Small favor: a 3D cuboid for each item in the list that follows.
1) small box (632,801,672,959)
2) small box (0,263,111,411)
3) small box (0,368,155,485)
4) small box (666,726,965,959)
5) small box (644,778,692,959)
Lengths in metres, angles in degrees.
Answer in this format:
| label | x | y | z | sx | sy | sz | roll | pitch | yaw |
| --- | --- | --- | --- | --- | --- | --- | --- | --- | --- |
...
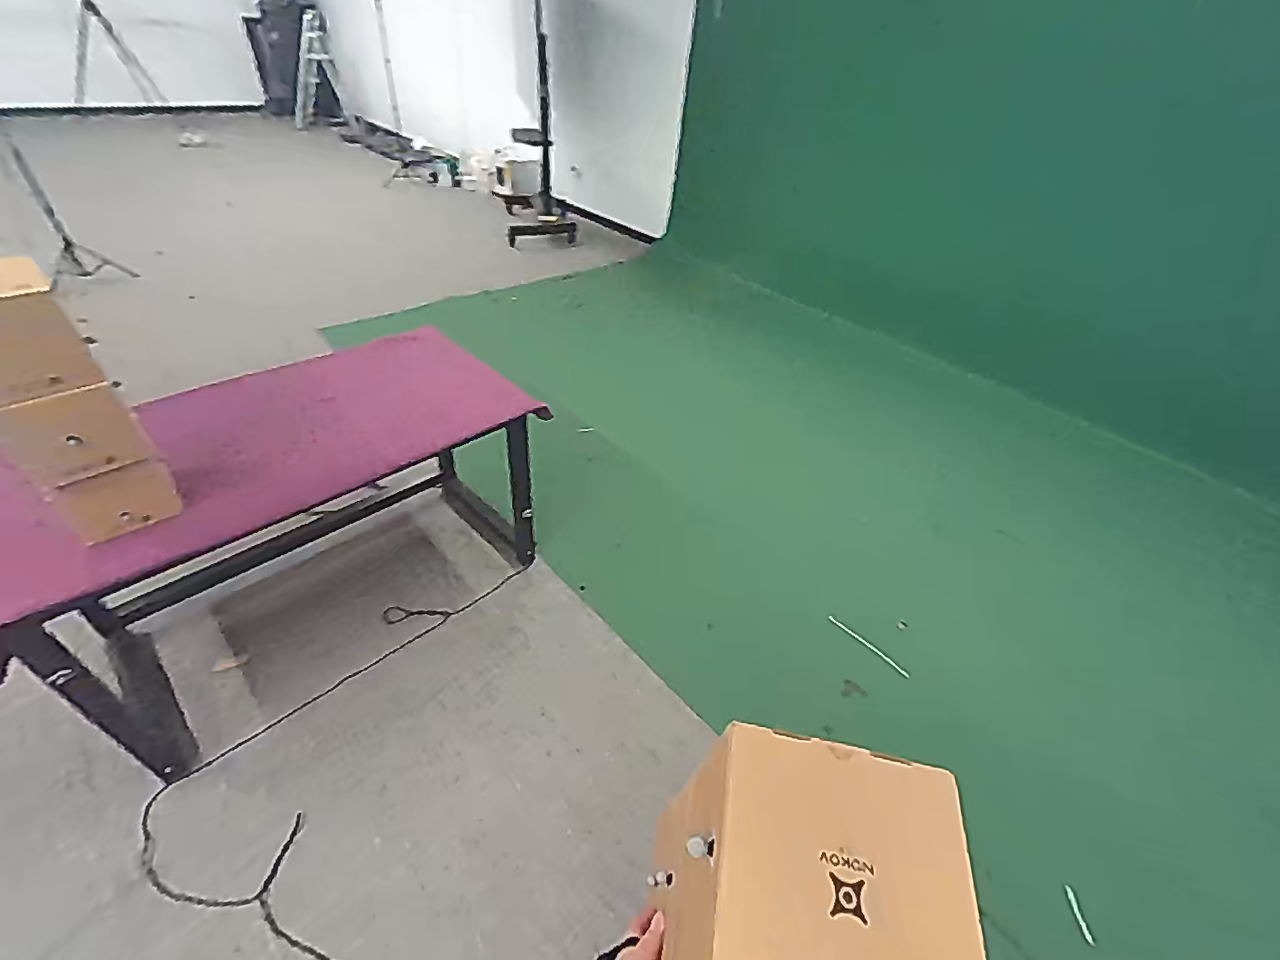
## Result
| label | x | y | z | sx | sy | sz | roll | pitch | yaw |
| --- | --- | --- | --- | --- | --- | --- | --- | --- | --- |
| small box | 0.088 | 0.523 | 0.658 | 0.168 | 0.176 | 0.179 | 11 | 49 | 3 |
| small box | -1.043 | -0.241 | 0.902 | 0.179 | 0.176 | 0.168 | 35 | 48 | 29 |
| small box | -1.053 | -0.112 | 1.005 | 0.168 | 0.176 | 0.179 | -30 | 53 | -36 |
| small box | 0.116 | 0.317 | 0.407 | 0.168 | 0.176 | 0.179 | 11 | 48 | 4 |
| small box | 0.099 | 0.424 | 0.528 | 0.168 | 0.176 | 0.179 | 11 | 48 | 3 |
